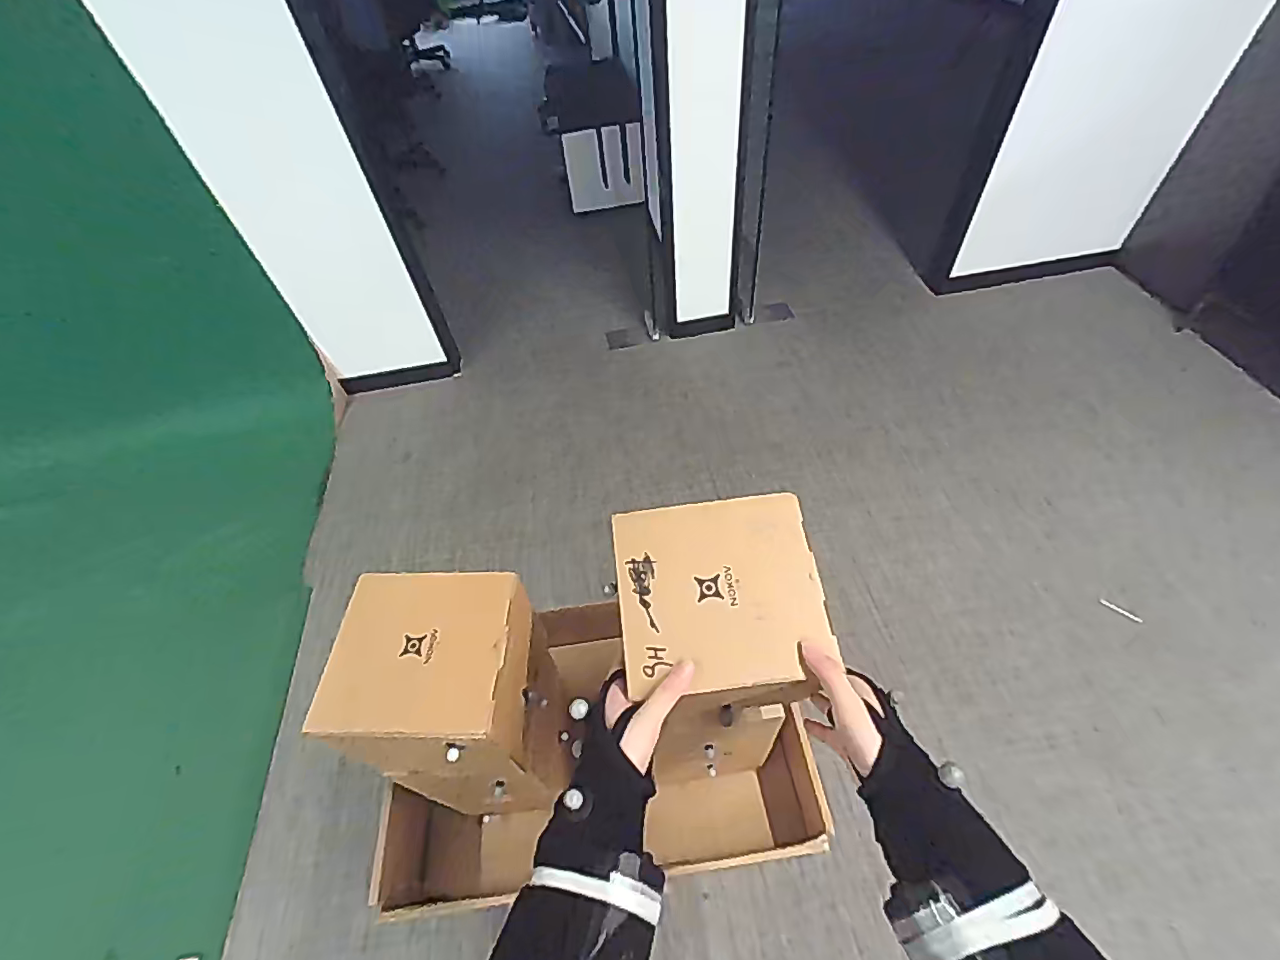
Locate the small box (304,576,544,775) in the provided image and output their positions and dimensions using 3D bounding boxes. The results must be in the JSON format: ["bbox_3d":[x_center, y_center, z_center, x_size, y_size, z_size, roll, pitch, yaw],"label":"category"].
[{"bbox_3d":[-0.217,0.220,0.601,0.179,0.176,0.168,-1,51,3],"label":"small box"}]

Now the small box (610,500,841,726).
[{"bbox_3d":[0.067,0.135,0.526,0.179,0.176,0.168,-6,59,-1],"label":"small box"}]

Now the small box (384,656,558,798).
[{"bbox_3d":[-0.210,0.319,0.730,0.168,0.176,0.179,-4,50,2],"label":"small box"}]

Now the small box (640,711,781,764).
[{"bbox_3d":[0.082,0.271,0.732,0.168,0.176,0.179,-8,51,0],"label":"small box"}]
